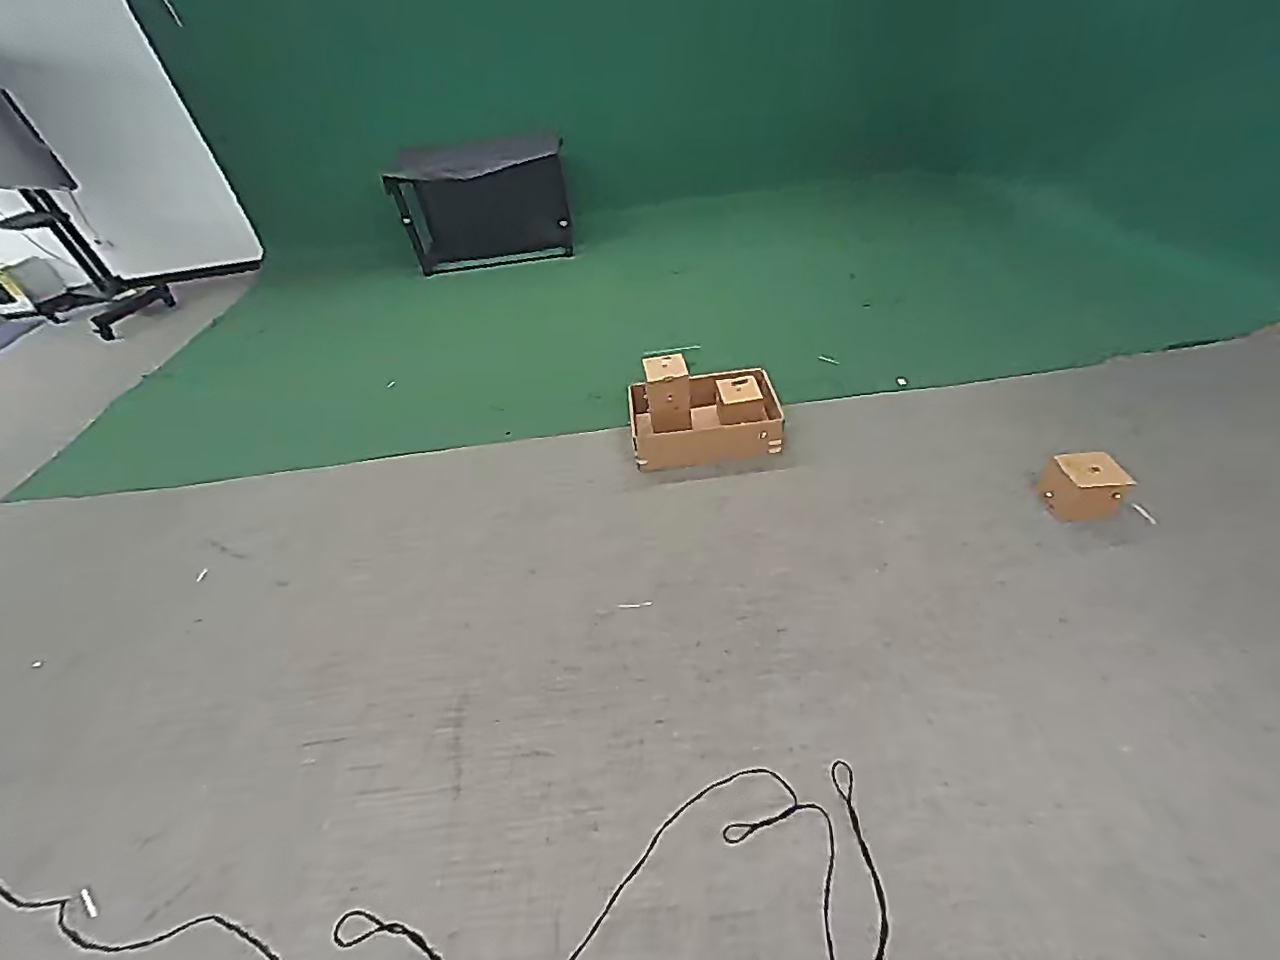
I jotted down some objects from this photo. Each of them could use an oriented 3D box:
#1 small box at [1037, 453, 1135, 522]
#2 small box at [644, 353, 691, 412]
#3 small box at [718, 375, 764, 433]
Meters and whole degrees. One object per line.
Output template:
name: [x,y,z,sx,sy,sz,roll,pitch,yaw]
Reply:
small box: [1.514,0.028,1.849,0.179,0.176,0.168,-4,42,5]
small box: [0.114,-0.393,2.213,0.168,0.176,0.179,-9,44,0]
small box: [0.430,-0.325,2.330,0.168,0.176,0.179,-9,45,1]
